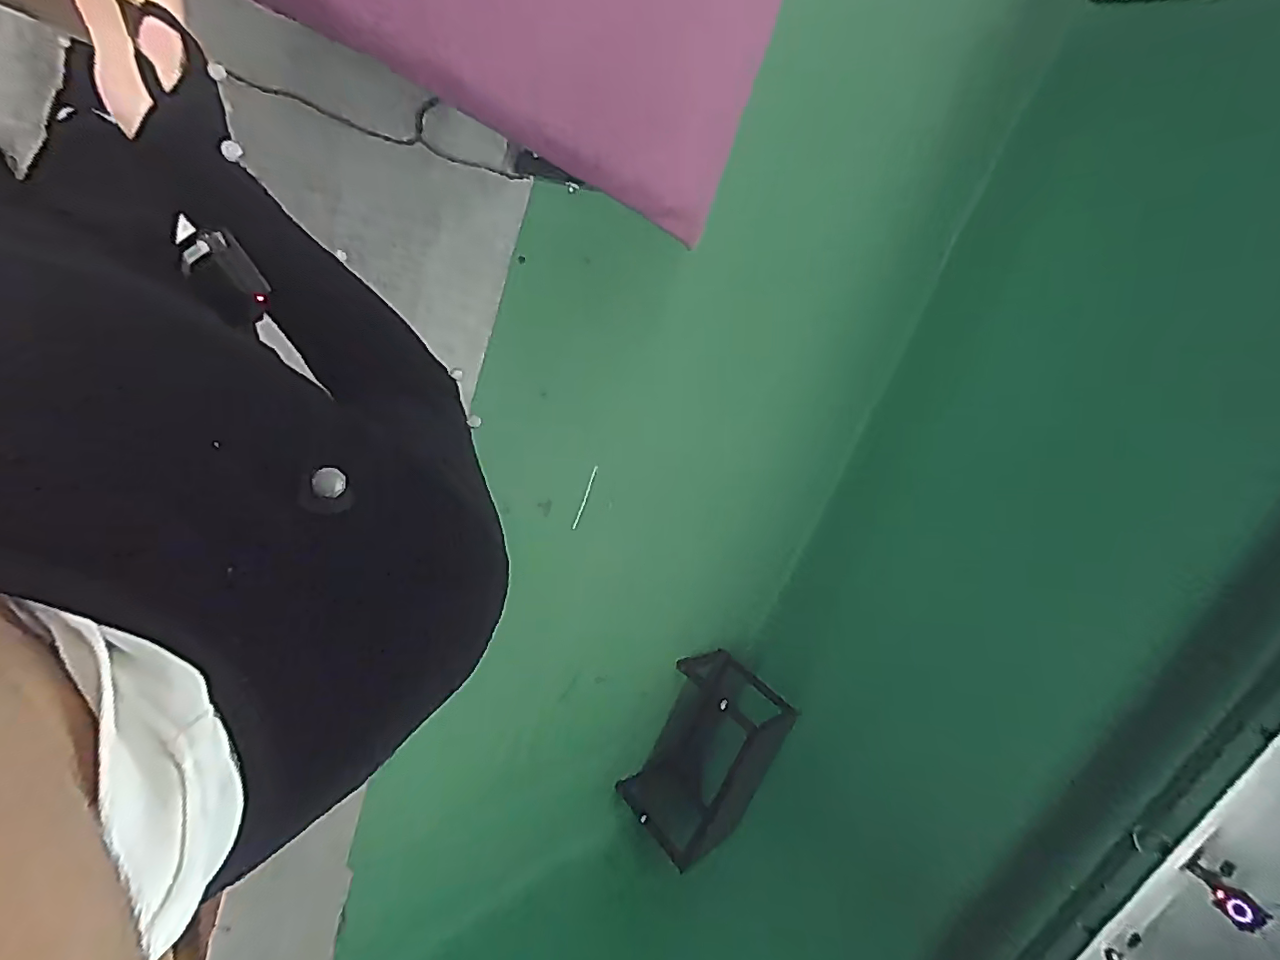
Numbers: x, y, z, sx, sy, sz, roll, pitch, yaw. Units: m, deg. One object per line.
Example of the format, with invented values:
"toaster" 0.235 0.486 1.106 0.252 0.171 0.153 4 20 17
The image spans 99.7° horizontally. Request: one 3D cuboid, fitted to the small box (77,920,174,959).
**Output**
"small box" -1.134 1.123 1.170 0.179 0.176 0.168 3 116 -48
